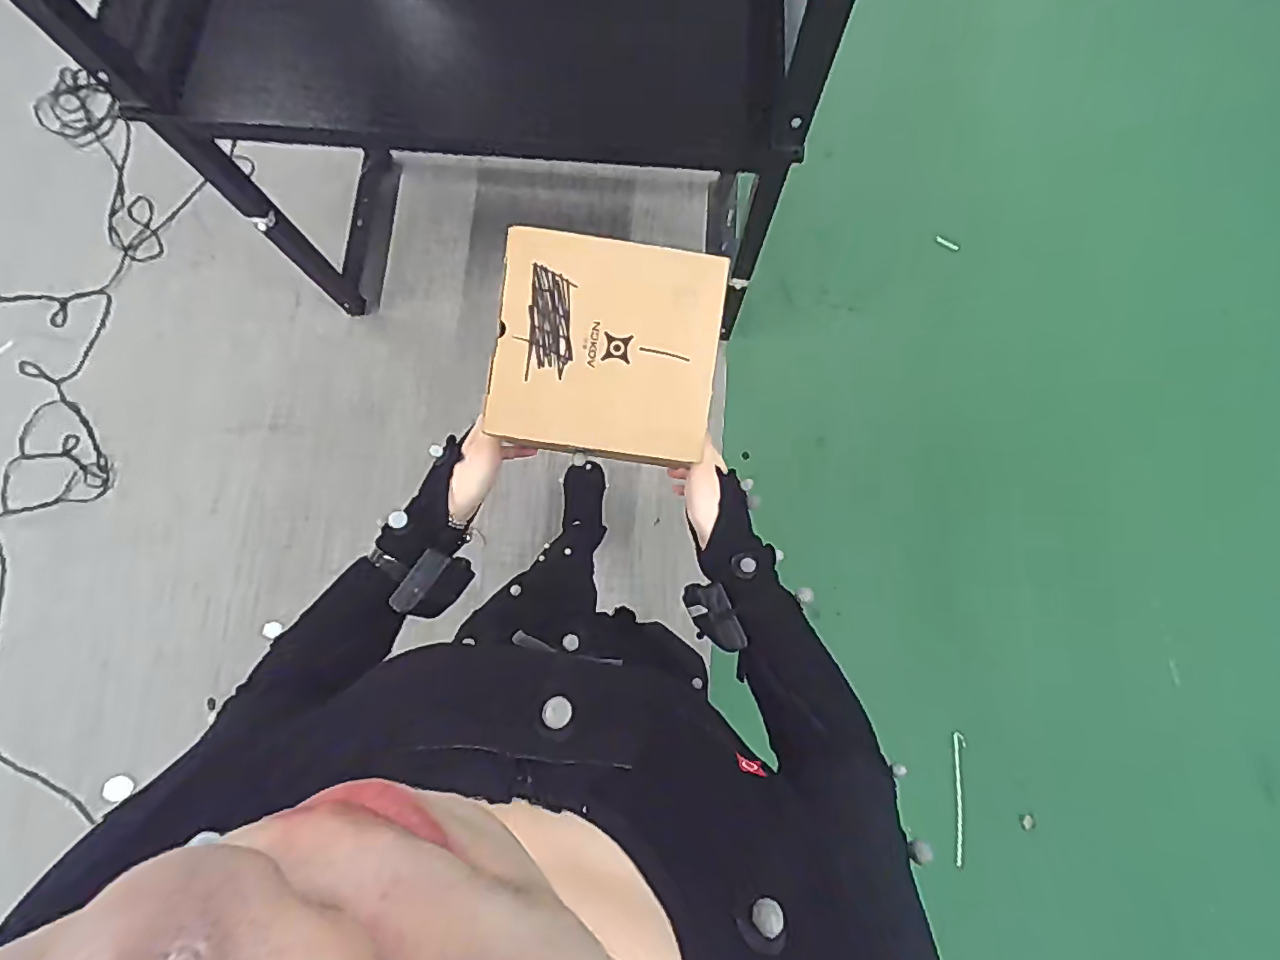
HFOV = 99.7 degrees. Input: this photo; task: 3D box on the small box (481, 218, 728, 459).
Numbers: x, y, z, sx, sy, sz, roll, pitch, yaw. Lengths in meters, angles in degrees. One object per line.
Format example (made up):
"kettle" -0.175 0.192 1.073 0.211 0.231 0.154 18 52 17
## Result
"small box" -0.030 -0.113 0.503 0.179 0.176 0.168 8 90 -2
